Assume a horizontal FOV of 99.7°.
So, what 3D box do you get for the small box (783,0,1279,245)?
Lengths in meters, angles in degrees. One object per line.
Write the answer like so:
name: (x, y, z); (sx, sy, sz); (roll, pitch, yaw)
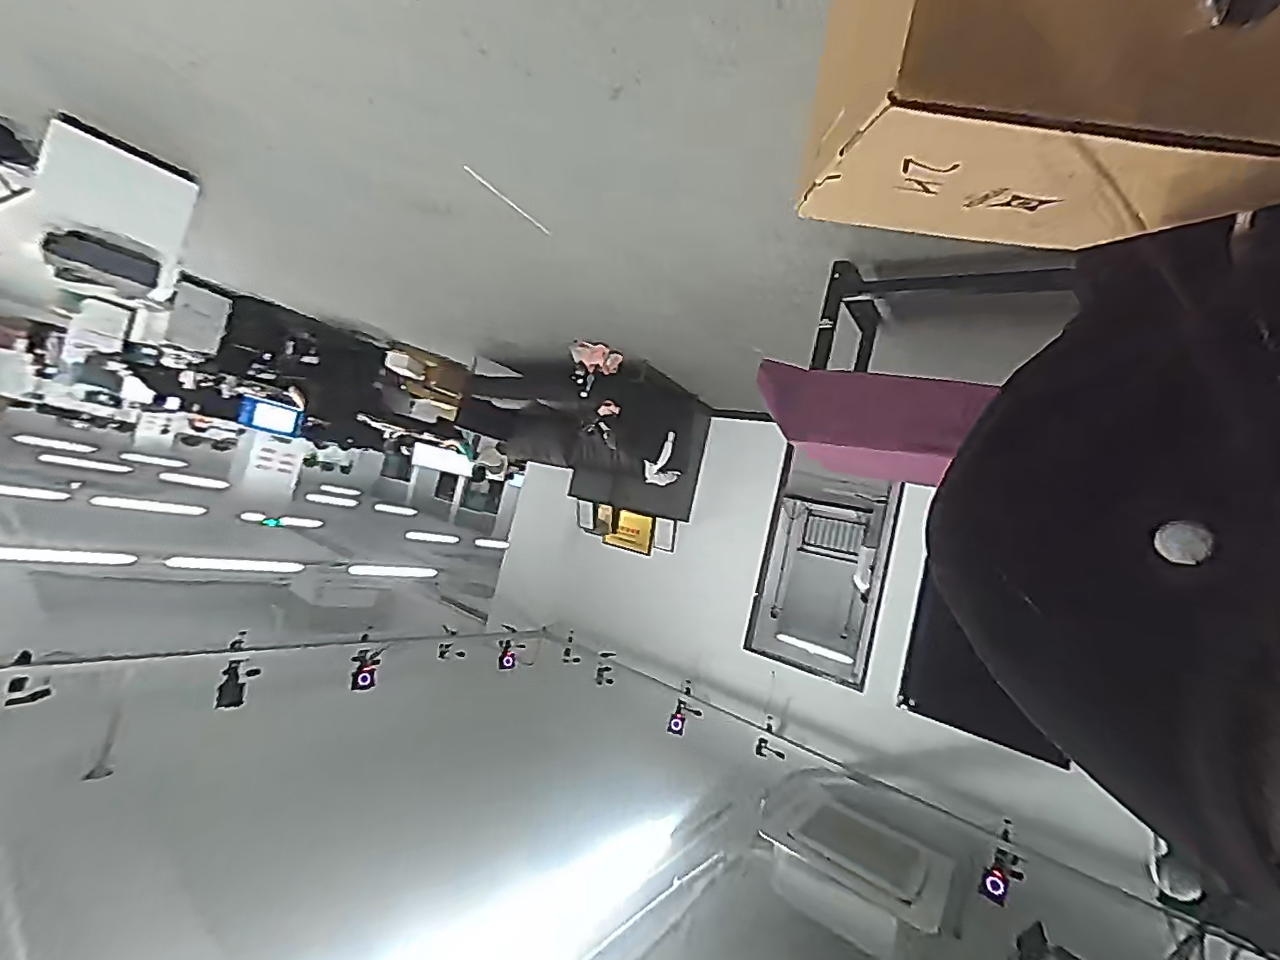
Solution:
small box: (0.180, -0.213, 0.229); (0.179, 0.176, 0.168); (9, -166, 0)
